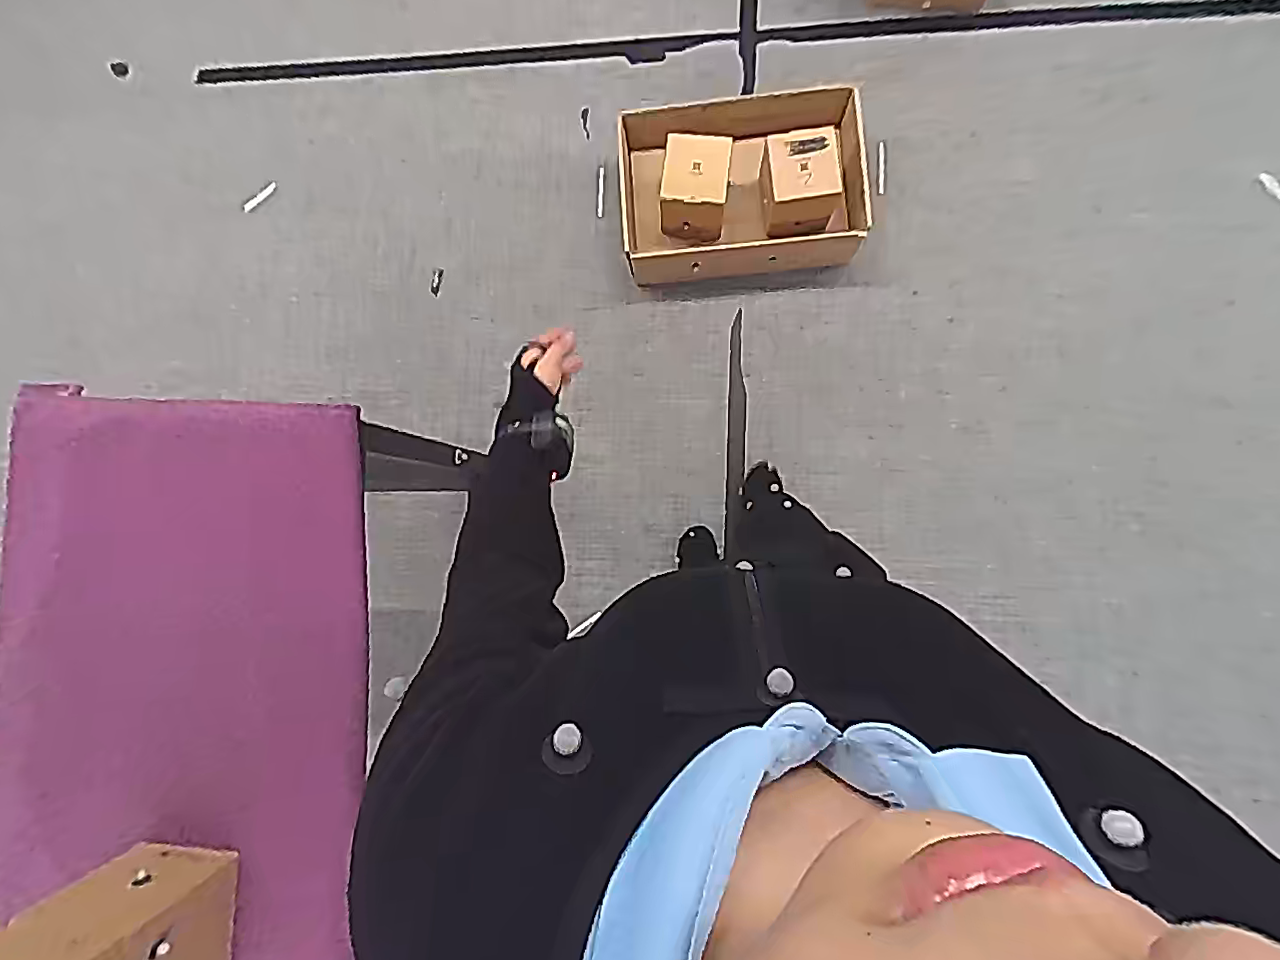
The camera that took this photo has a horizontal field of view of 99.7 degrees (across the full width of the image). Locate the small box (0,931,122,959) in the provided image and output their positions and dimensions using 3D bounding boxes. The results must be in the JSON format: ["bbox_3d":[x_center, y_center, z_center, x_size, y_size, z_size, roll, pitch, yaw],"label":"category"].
[{"bbox_3d":[-0.712,0.629,0.575,0.179,0.176,0.168,0,86,6],"label":"small box"}]

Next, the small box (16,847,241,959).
[{"bbox_3d":[-0.688,0.640,0.737,0.168,0.176,0.179,2,86,6],"label":"small box"}]

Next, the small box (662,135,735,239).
[{"bbox_3d":[0.151,-0.772,1.434,0.168,0.176,0.179,7,86,5],"label":"small box"}]
